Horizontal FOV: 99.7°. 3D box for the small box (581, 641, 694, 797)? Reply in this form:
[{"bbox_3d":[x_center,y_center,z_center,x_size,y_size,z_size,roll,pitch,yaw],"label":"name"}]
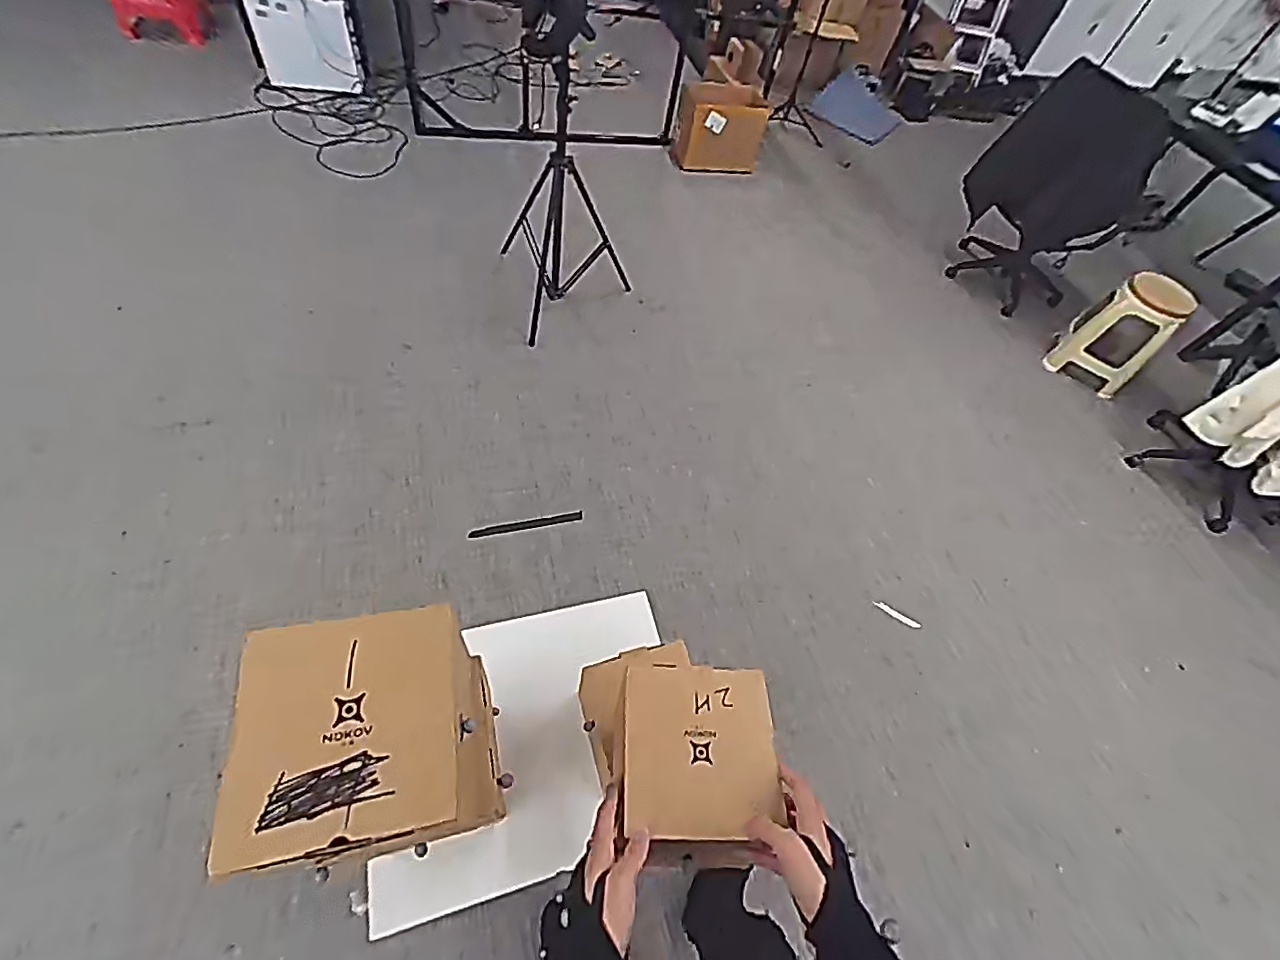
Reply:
[{"bbox_3d":[0.008,0.380,0.847,0.168,0.176,0.179,-11,59,-16],"label":"small box"}]

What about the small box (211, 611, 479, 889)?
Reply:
[{"bbox_3d":[-0.242,0.241,0.493,0.168,0.176,0.179,-5,57,-14],"label":"small box"}]

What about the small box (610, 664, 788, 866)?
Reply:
[{"bbox_3d":[0.056,0.337,0.634,0.168,0.176,0.179,5,47,-6],"label":"small box"}]

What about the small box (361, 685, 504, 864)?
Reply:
[{"bbox_3d":[-0.289,0.415,0.769,0.168,0.176,0.179,-8,58,-16],"label":"small box"}]
